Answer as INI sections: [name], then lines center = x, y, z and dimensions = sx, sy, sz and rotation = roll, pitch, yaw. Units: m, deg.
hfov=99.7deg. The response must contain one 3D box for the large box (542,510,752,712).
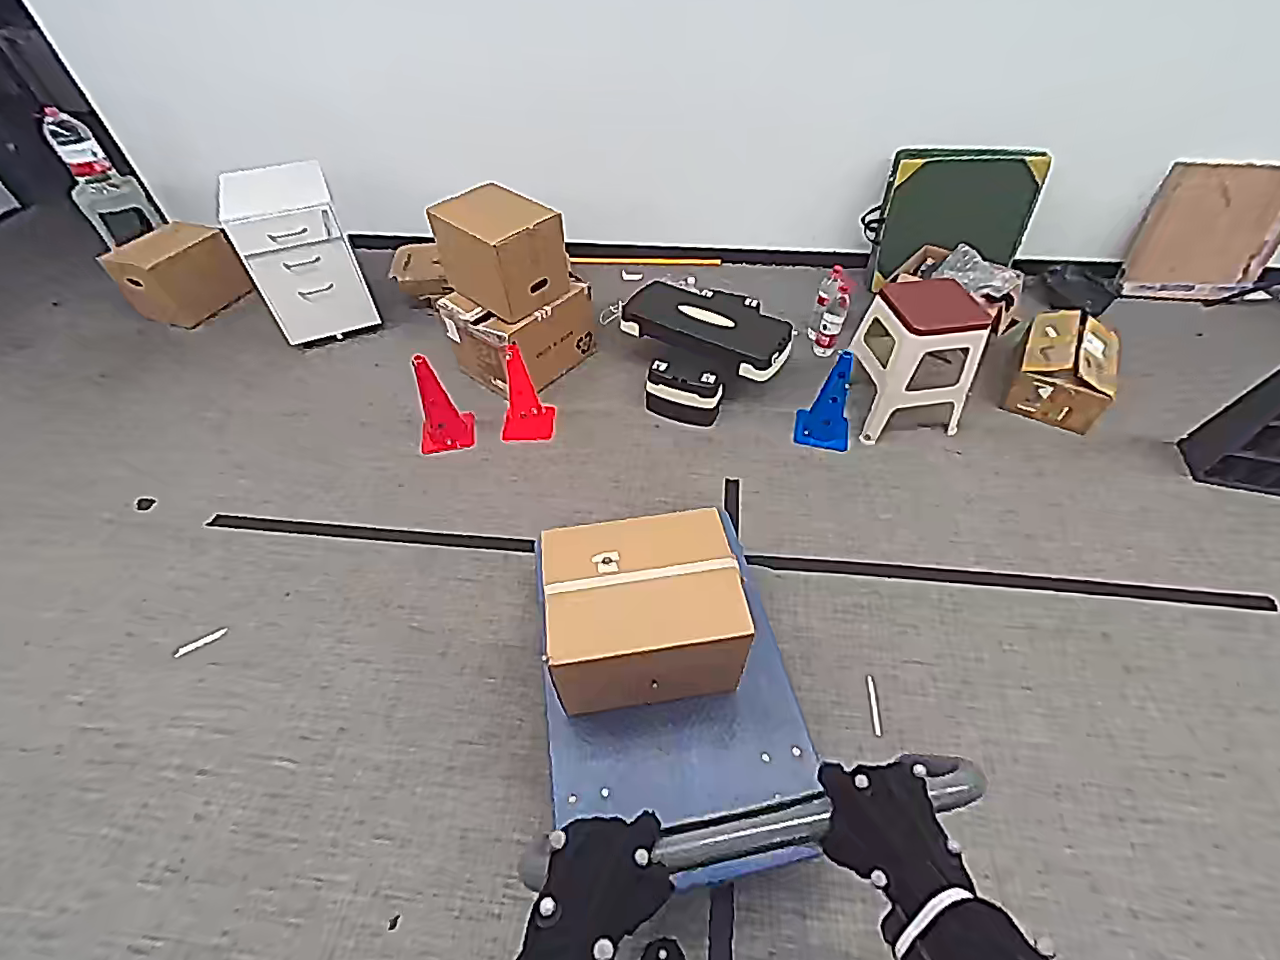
[large box]
center = 0.006, 0.305, 1.244
dimensions = 0.408, 0.320, 0.320
rotation = -8, 50, -4
